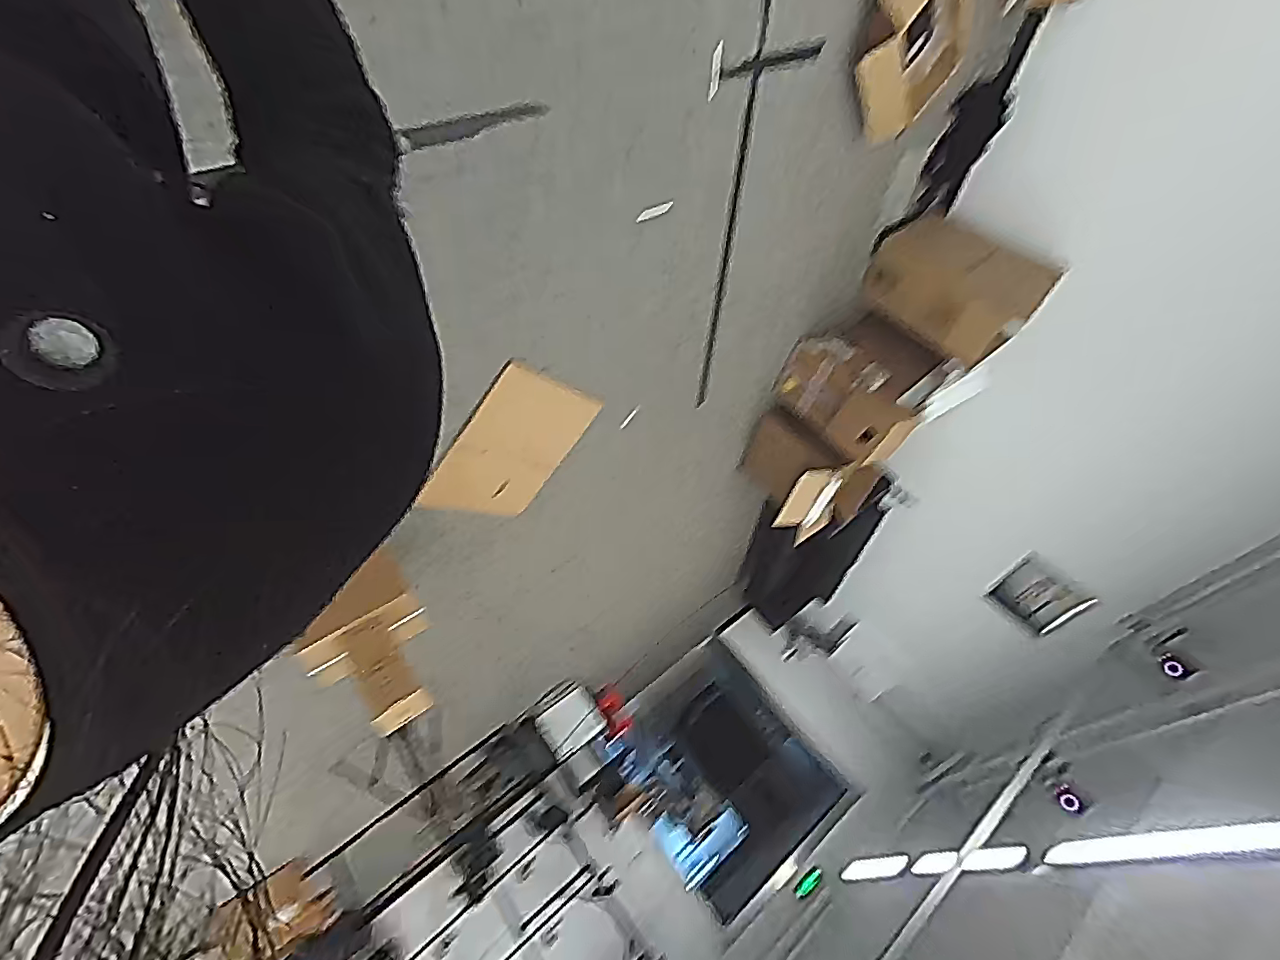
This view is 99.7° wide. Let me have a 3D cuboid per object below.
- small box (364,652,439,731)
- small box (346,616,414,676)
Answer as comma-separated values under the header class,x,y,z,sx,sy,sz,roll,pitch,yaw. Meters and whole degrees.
class,x,y,z,sx,sy,sz,roll,pitch,yaw
small box,-0.827,0.725,1.874,0.168,0.176,0.179,-29,147,-25
small box,-0.928,0.616,1.943,0.168,0.176,0.179,-28,148,-28
